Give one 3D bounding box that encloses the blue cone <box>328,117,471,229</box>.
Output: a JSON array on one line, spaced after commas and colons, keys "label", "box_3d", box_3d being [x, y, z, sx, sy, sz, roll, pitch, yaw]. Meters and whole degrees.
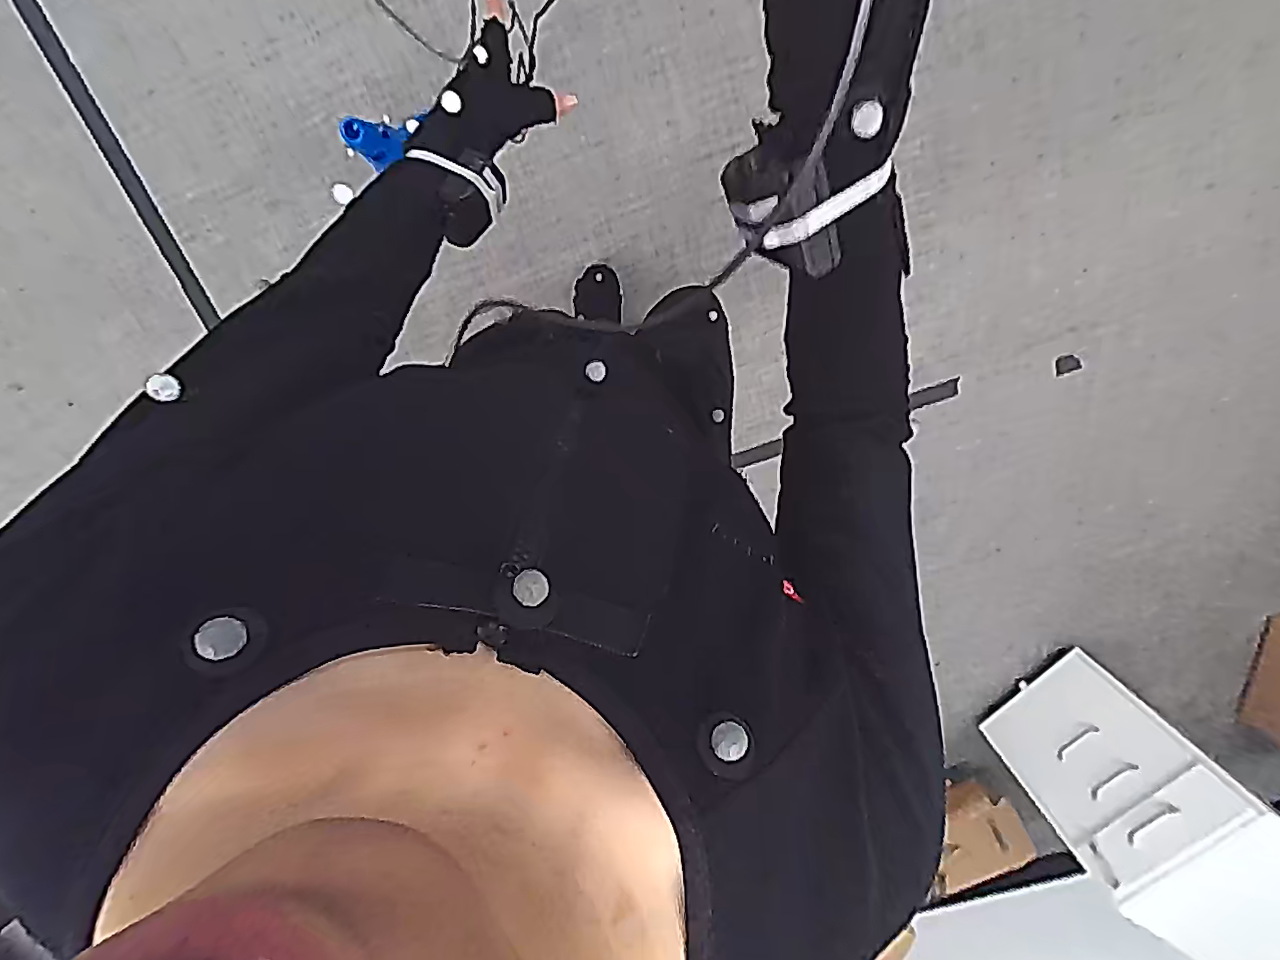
[{"label": "blue cone", "box_3d": [-0.500, -0.642, 1.082, 0.192, 0.380, 0.193, -23, 109, 8]}]
